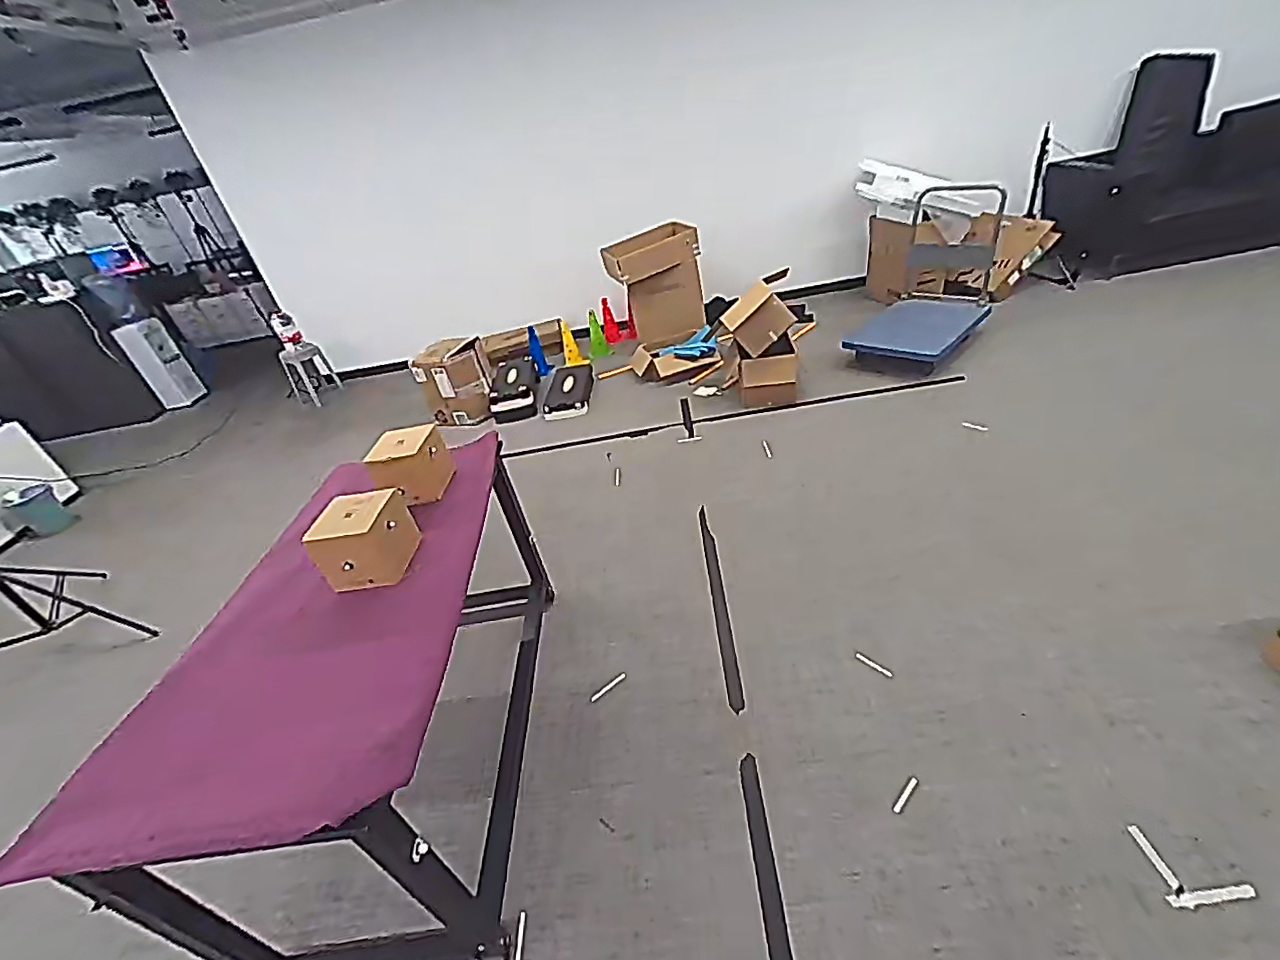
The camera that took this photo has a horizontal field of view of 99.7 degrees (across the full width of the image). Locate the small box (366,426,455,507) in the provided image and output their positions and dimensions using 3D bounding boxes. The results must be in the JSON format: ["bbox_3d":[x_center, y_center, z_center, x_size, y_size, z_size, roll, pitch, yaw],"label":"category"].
[{"bbox_3d":[-0.672,-0.039,1.612,0.168,0.176,0.179,-9,34,7],"label":"small box"}]

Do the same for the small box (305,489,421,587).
[{"bbox_3d":[-0.668,0.148,1.333,0.168,0.176,0.179,-8,33,6],"label":"small box"}]
